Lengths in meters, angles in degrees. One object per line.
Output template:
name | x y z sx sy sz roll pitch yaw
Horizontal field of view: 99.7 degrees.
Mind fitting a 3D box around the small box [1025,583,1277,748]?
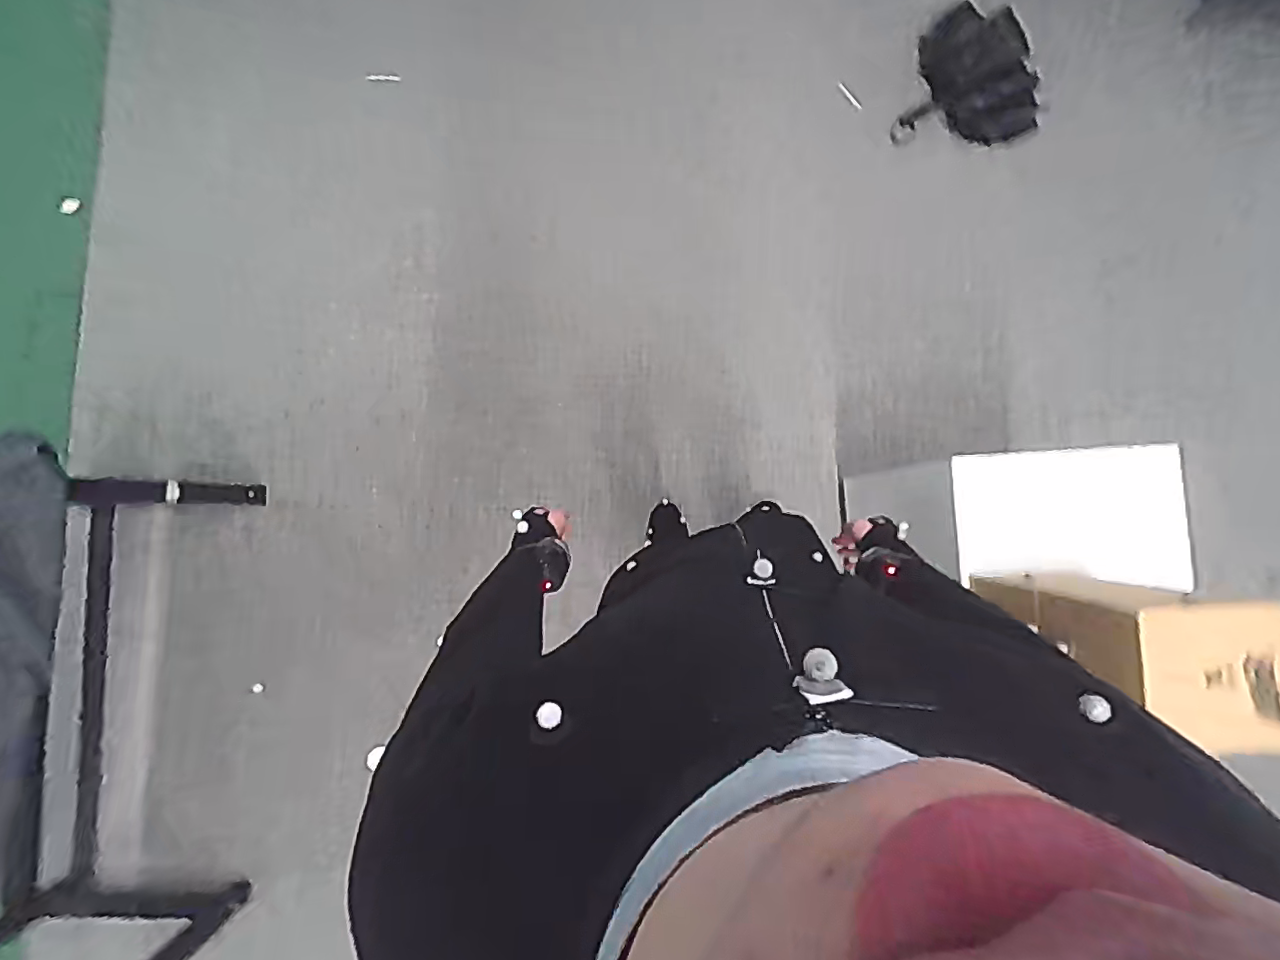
small box | 0.650 0.229 0.708 0.179 0.176 0.168 -2 88 1

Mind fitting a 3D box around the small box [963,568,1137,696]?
small box | 0.649 0.235 0.872 0.179 0.176 0.168 -3 88 -1
